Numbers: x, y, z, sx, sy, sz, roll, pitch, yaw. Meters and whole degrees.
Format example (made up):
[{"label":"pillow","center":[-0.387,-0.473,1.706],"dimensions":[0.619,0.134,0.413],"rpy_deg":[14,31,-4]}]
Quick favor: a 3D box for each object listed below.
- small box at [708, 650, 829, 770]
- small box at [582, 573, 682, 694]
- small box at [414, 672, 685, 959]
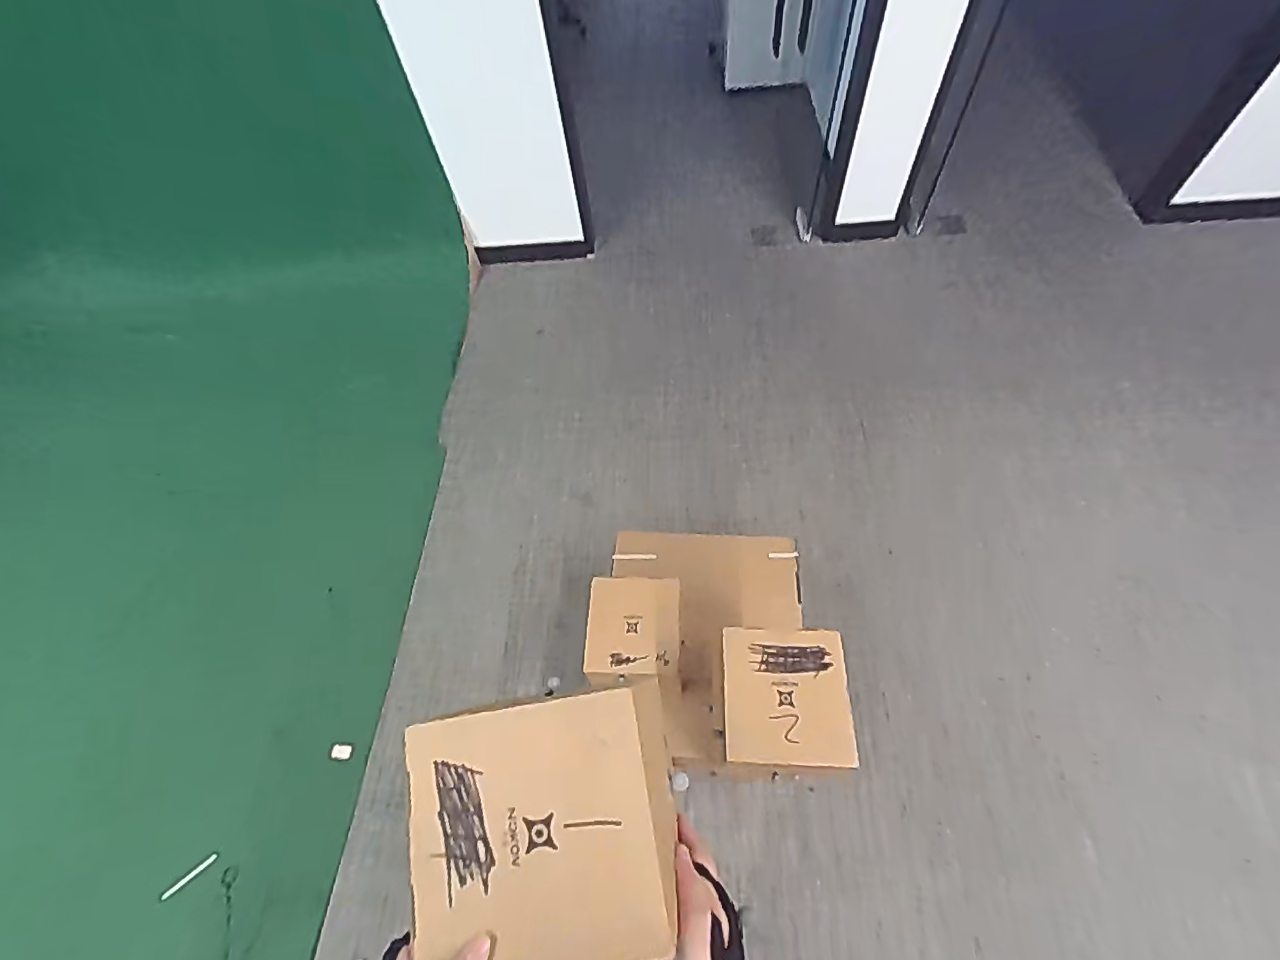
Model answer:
[{"label":"small box","center":[0.211,0.401,0.934],"dimensions":[0.179,0.176,0.168],"rpy_deg":[0,58,5]},{"label":"small box","center":[-0.007,0.291,1.022],"dimensions":[0.168,0.176,0.179],"rpy_deg":[0,57,6]},{"label":"small box","center":[-0.063,0.259,0.450],"dimensions":[0.179,0.176,0.168],"rpy_deg":[-11,71,3]}]
